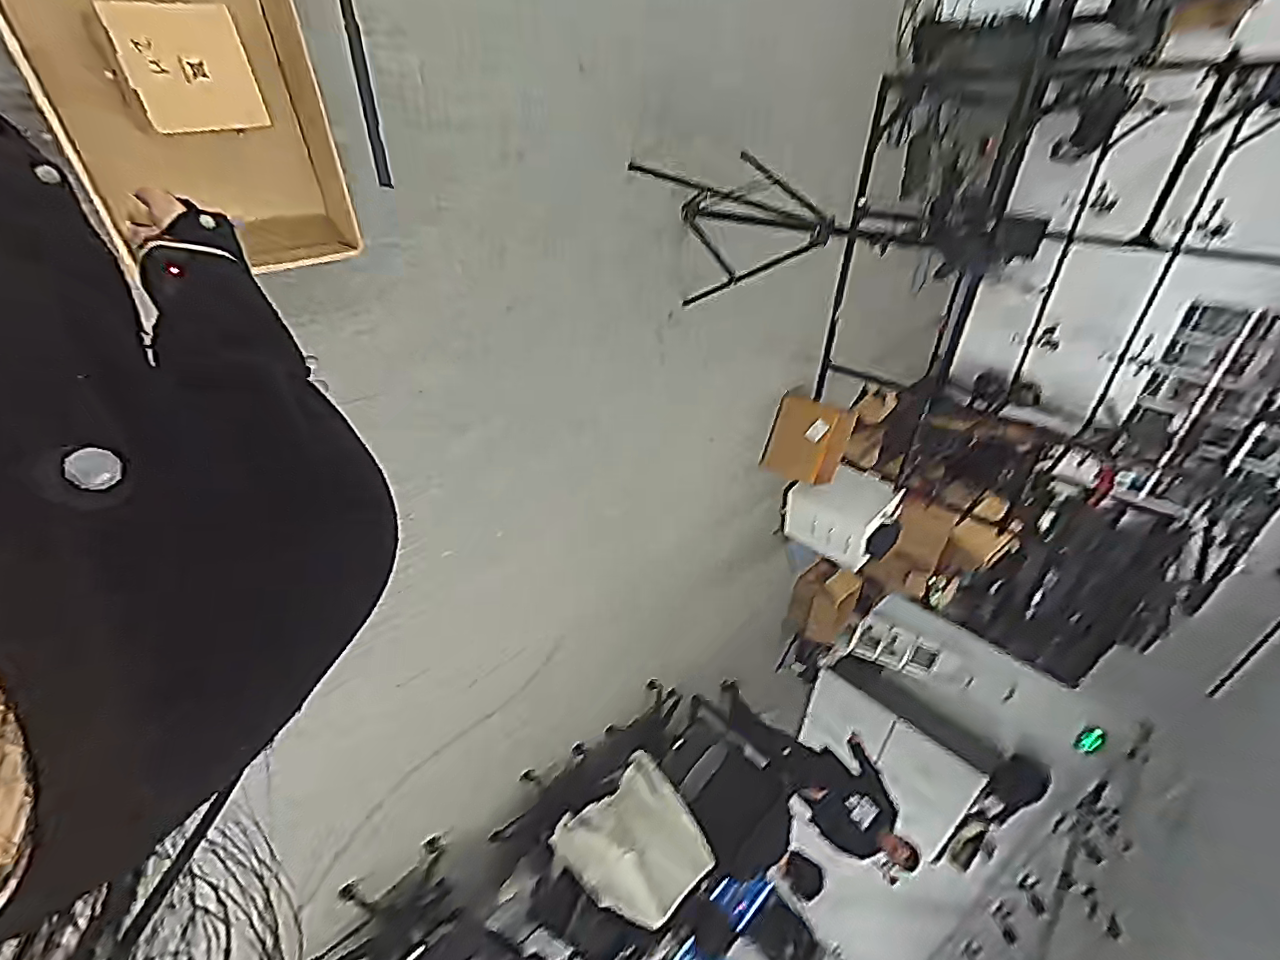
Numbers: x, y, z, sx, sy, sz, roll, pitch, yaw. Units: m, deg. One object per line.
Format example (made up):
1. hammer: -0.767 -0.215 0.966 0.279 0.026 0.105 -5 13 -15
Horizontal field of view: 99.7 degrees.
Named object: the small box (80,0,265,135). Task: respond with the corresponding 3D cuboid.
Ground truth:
1. small box: -0.787 -0.690 0.915 0.179 0.176 0.168 -32 134 -34
